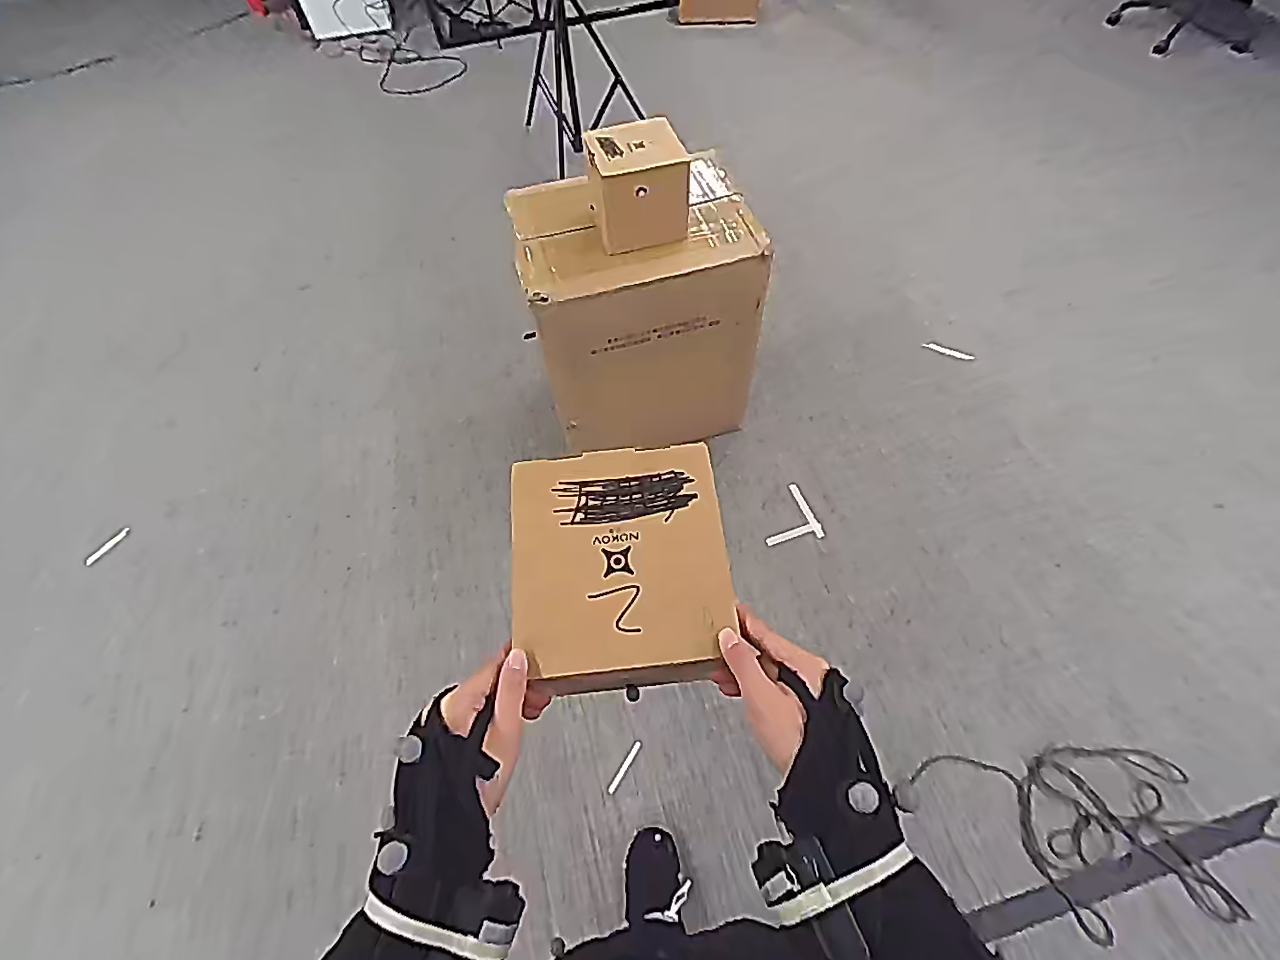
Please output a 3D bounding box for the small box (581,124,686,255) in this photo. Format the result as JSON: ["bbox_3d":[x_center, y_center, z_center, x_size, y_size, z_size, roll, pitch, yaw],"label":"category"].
[{"bbox_3d":[-0.011,-0.590,1.111,0.179,0.176,0.168,-15,60,-6],"label":"small box"}]
